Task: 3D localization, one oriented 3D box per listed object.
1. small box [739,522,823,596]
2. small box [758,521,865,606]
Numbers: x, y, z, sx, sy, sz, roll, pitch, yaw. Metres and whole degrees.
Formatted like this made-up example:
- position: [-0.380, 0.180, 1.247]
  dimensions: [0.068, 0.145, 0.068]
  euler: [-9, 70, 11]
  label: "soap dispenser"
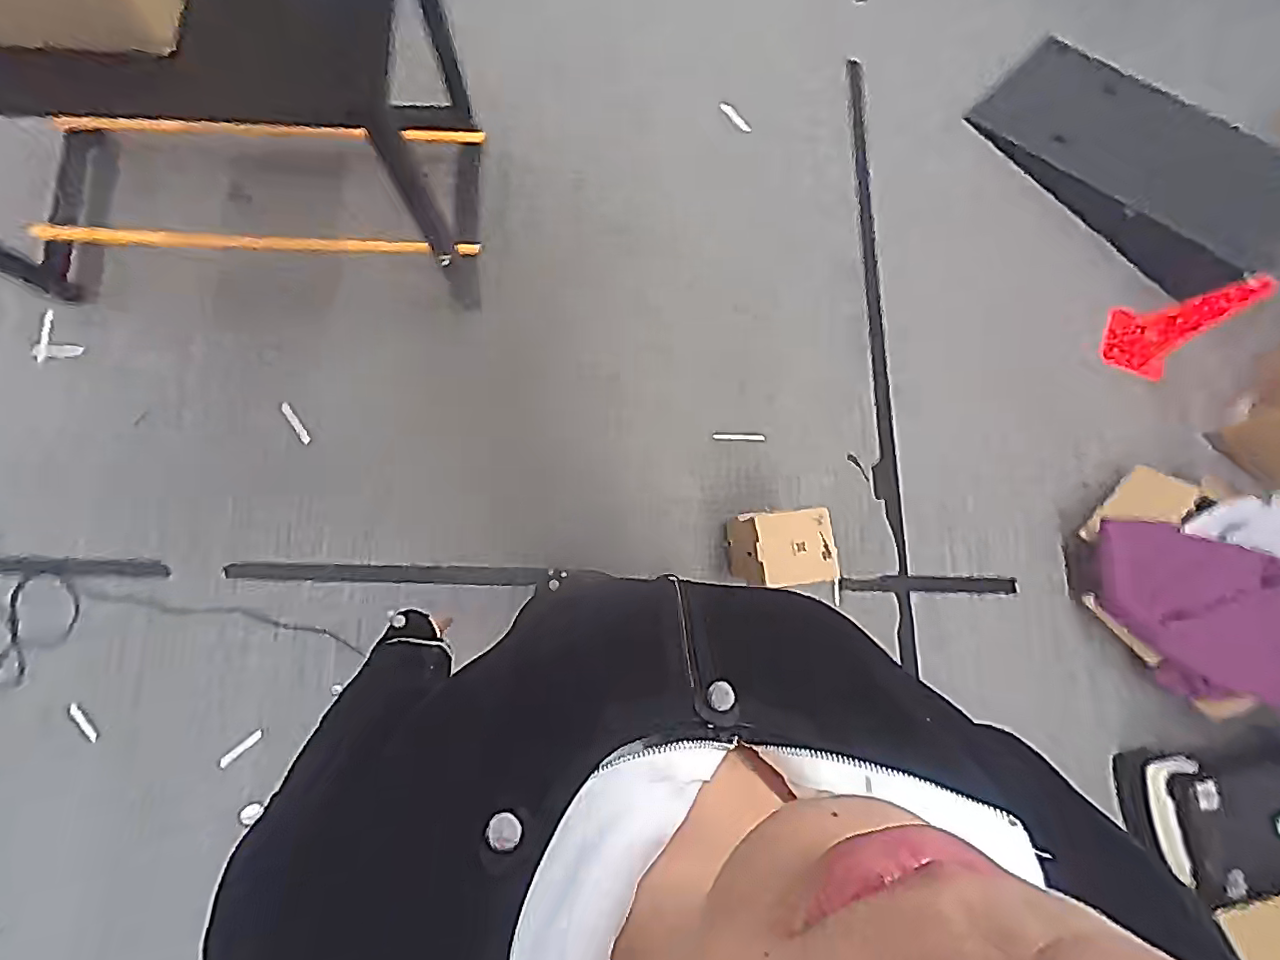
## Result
- position: [0.366, 0.201, 1.383]
  dimensions: [0.179, 0.176, 0.168]
  euler: [-6, 80, -3]
  label: "small box"
- position: [0.374, 0.191, 1.218]
  dimensions: [0.179, 0.176, 0.168]
  euler: [-7, 80, -4]
  label: "small box"
